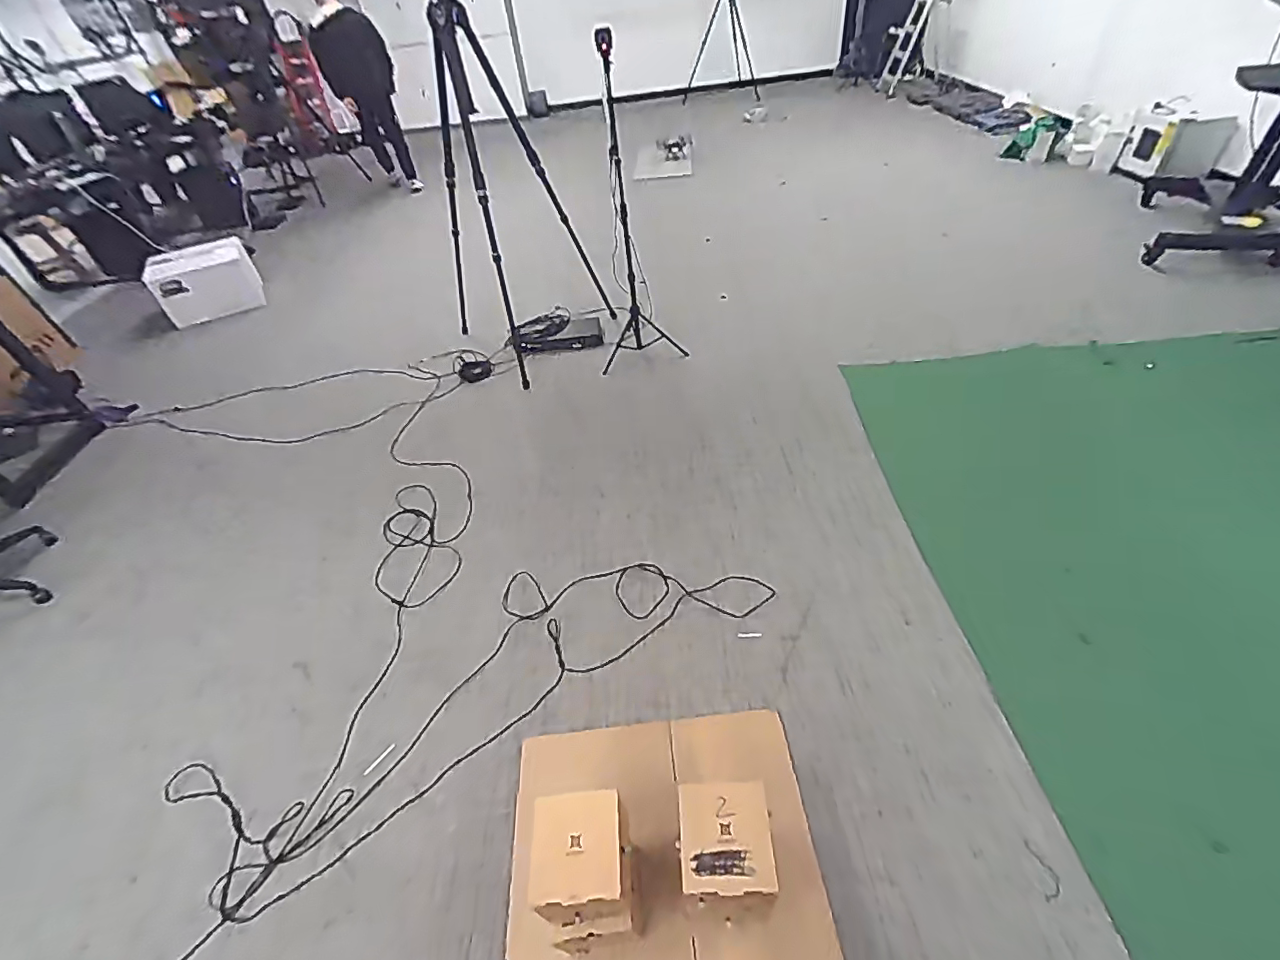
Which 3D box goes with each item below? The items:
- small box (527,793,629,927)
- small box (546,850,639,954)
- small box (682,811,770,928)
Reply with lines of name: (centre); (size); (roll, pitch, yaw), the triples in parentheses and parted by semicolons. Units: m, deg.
small box: (-0.112, 0.736, 1.047); (0.168, 0.176, 0.179); (-7, 43, 1)
small box: (-0.098, 0.873, 1.139); (0.168, 0.176, 0.179); (-9, 43, -1)
small box: (0.177, 0.828, 1.148); (0.168, 0.176, 0.179); (-5, 44, 5)
